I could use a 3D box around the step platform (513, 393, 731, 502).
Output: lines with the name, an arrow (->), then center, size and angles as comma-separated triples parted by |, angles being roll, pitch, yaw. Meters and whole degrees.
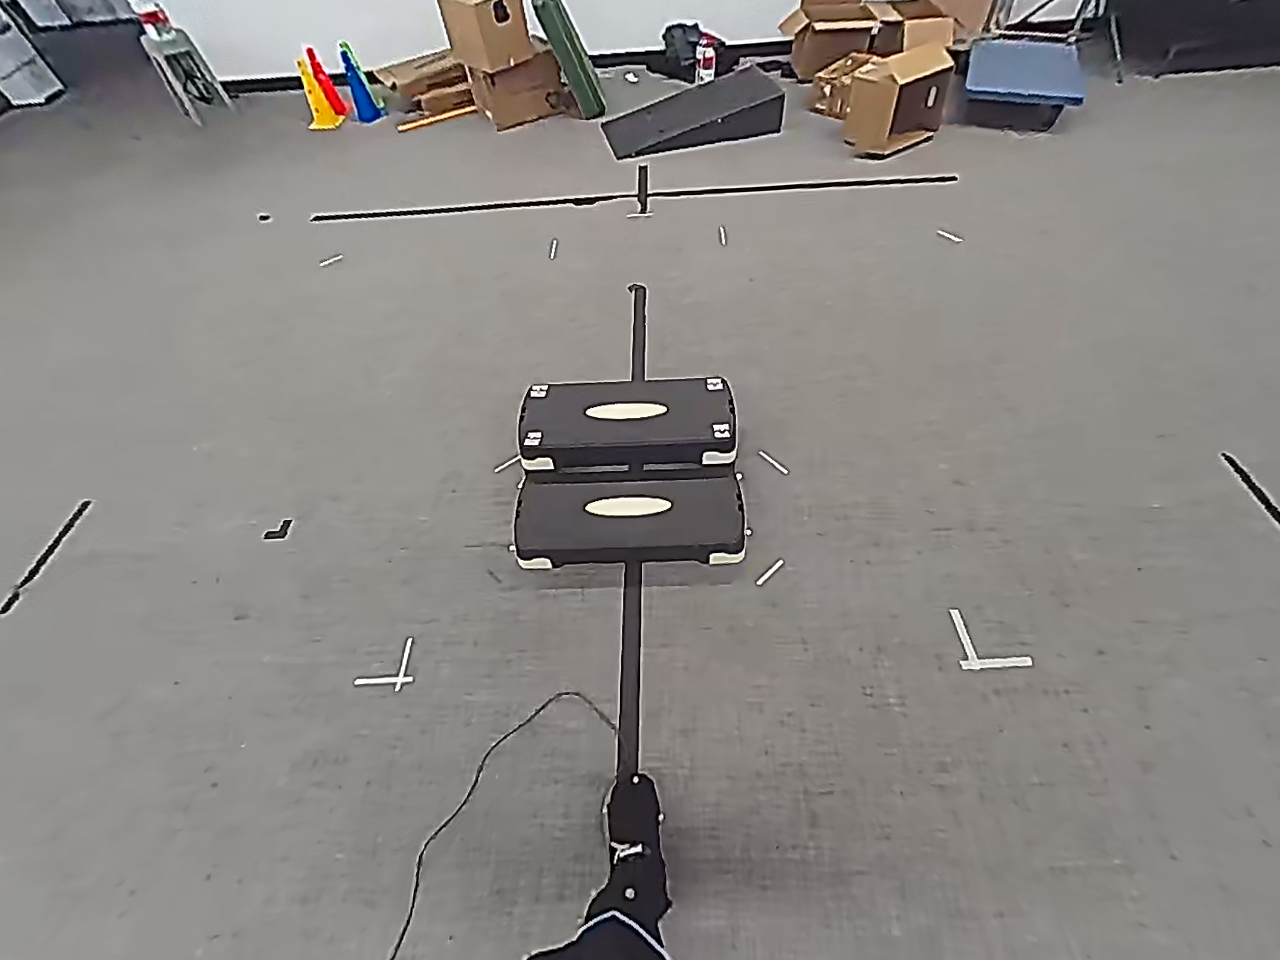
step platform -> -0.055, -0.110, 1.729 | 0.684, 0.204, 0.286 | -2, 54, 1
